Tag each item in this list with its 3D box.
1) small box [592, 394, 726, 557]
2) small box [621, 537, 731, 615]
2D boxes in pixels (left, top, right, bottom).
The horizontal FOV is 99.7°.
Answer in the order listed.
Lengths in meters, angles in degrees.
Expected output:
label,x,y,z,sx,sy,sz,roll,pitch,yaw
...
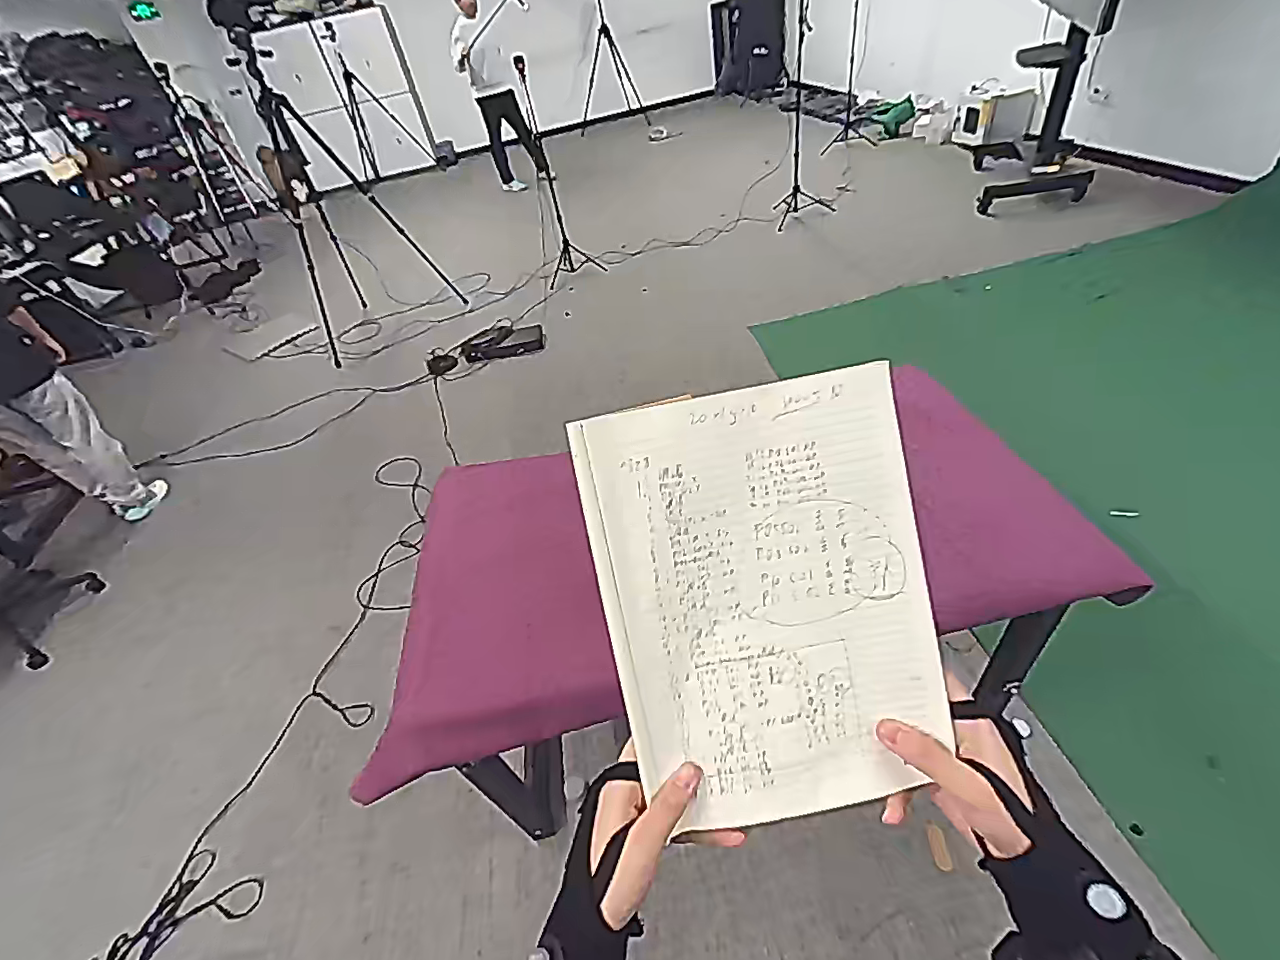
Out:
label,x,y,z,sx,sy,sz,roll,pitch,yaw
small box,0.030,-0.001,0.827,0.168,0.176,0.179,-13,41,0
small box,0.057,0.116,0.942,0.168,0.176,0.179,-13,43,0
